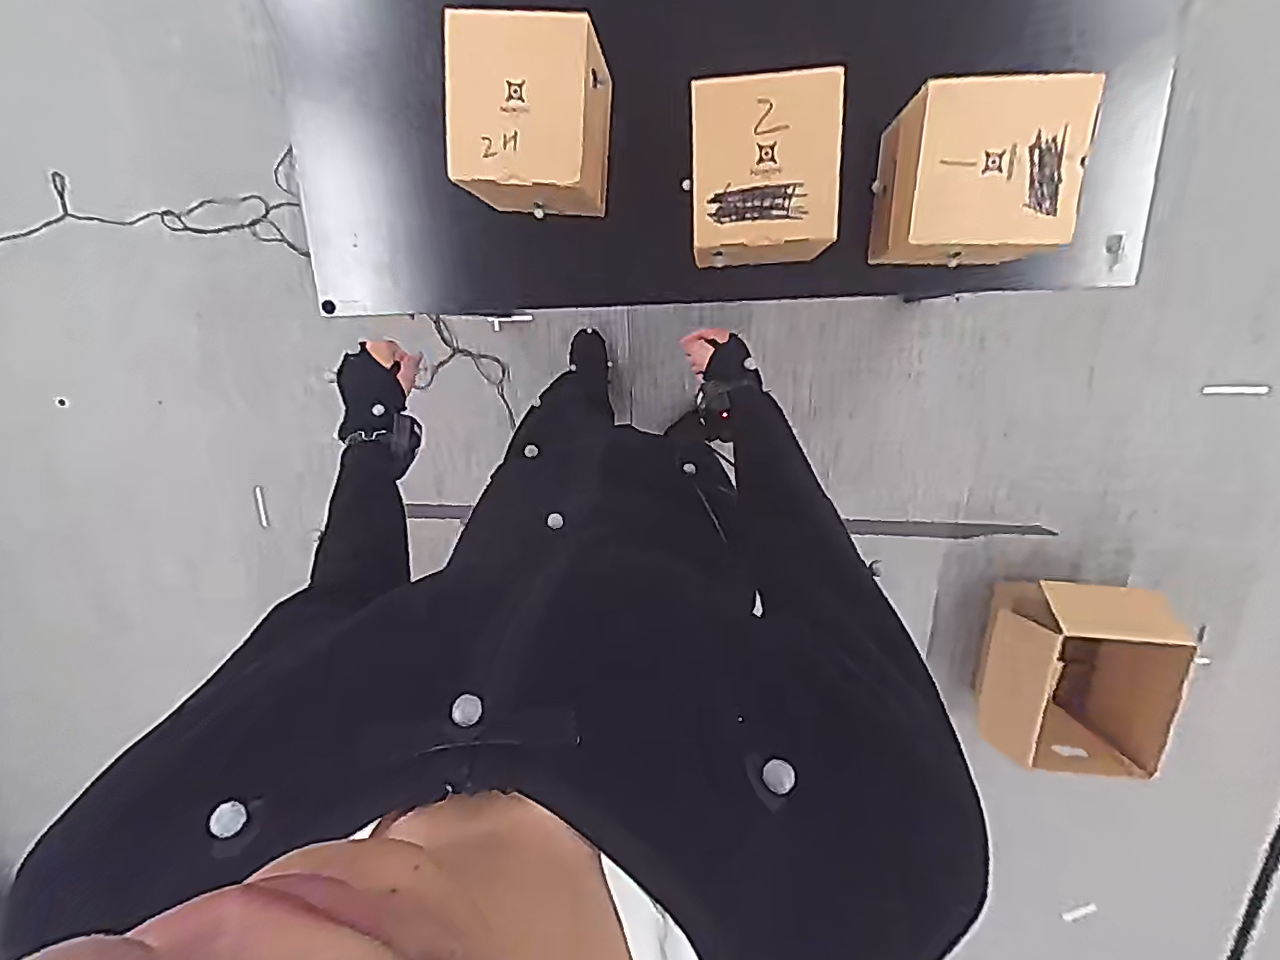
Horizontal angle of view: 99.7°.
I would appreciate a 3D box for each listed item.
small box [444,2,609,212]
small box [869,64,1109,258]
[{"bbox_3d":[-0.136,-0.460,0.693,0.168,0.176,0.179,6,106,6],"label":"small box"},{"bbox_3d":[0.398,-0.369,0.654,0.179,0.176,0.168,2,105,7],"label":"small box"}]
